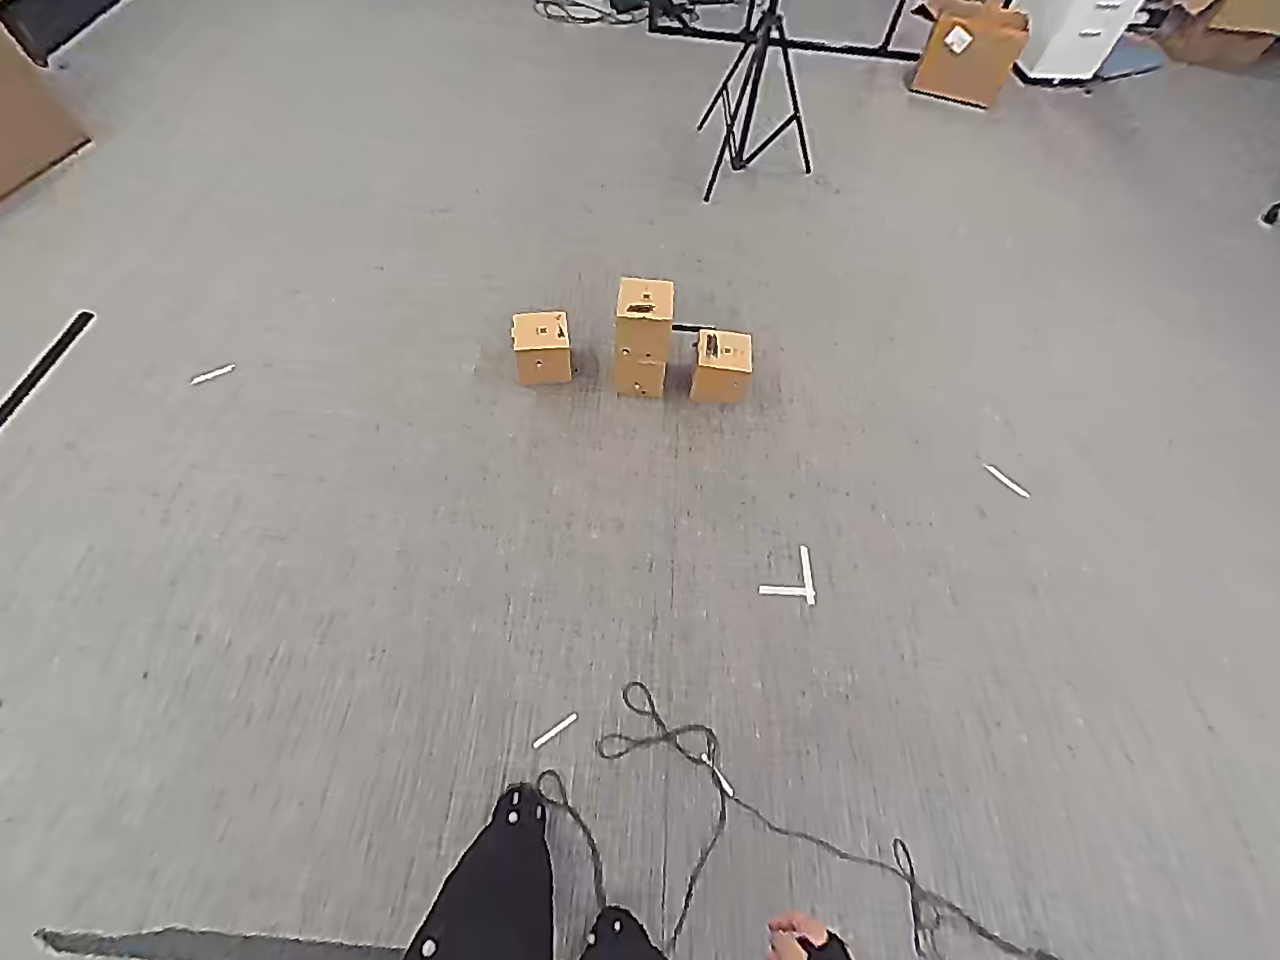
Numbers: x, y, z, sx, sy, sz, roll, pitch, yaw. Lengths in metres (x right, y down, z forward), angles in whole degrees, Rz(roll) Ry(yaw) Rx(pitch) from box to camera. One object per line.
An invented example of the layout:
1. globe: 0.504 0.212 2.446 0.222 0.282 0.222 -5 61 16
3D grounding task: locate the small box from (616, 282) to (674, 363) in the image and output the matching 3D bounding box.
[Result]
1. small box: 0.013 -0.484 1.673 0.168 0.176 0.179 5 58 -2

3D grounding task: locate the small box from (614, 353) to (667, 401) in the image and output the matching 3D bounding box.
1. small box: 0.004 -0.391 1.809 0.168 0.176 0.179 7 59 1

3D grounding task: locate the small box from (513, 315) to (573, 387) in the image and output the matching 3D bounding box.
1. small box: -0.323 -0.427 1.807 0.179 0.176 0.168 -6 60 -7
